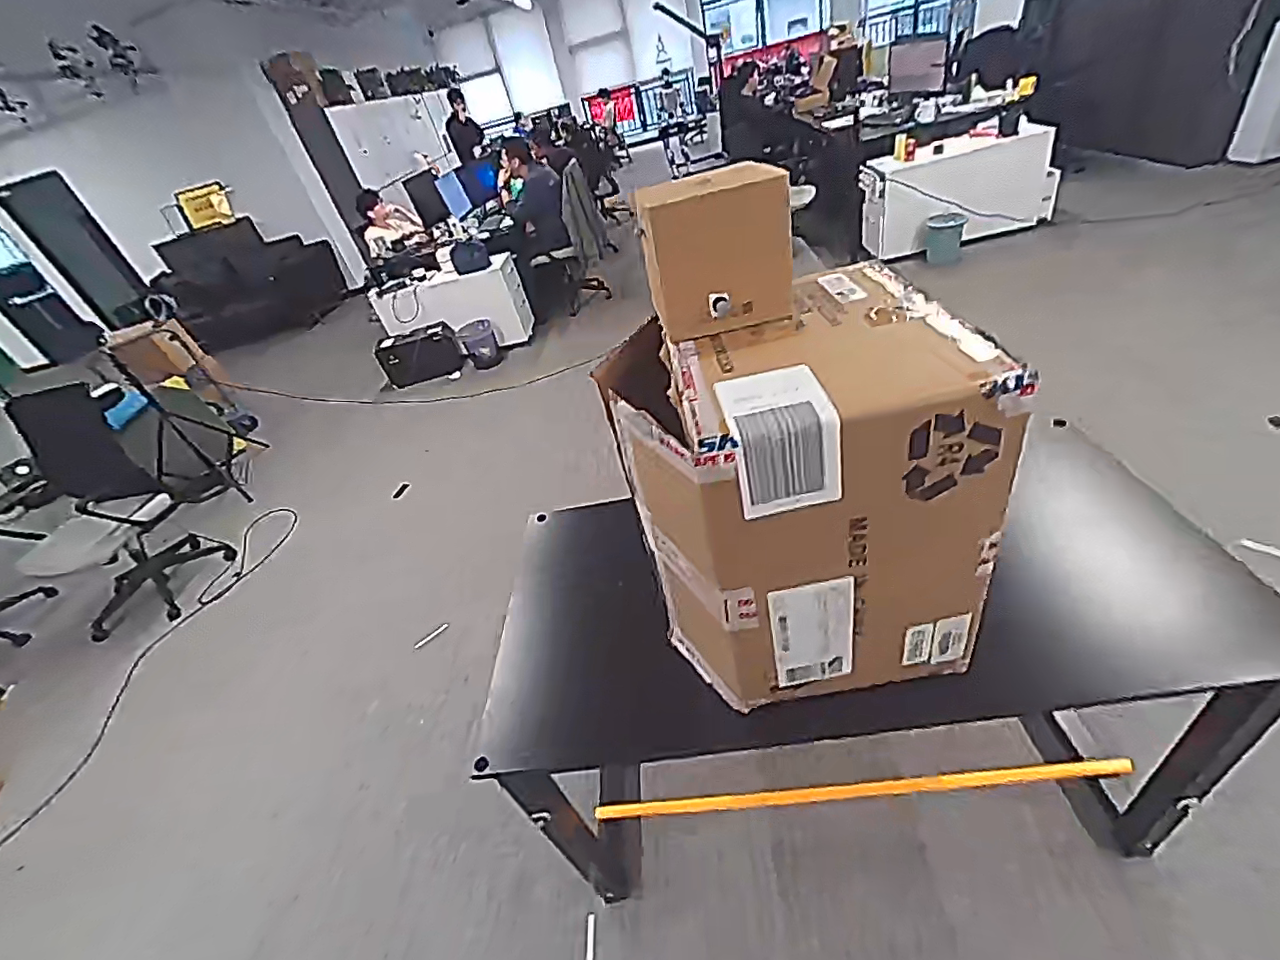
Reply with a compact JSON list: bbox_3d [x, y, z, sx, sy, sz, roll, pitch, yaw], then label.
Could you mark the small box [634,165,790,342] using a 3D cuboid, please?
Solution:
[{"bbox_3d":[0.094,-0.304,0.724,0.168,0.176,0.179,-14,35,2],"label":"small box"}]
